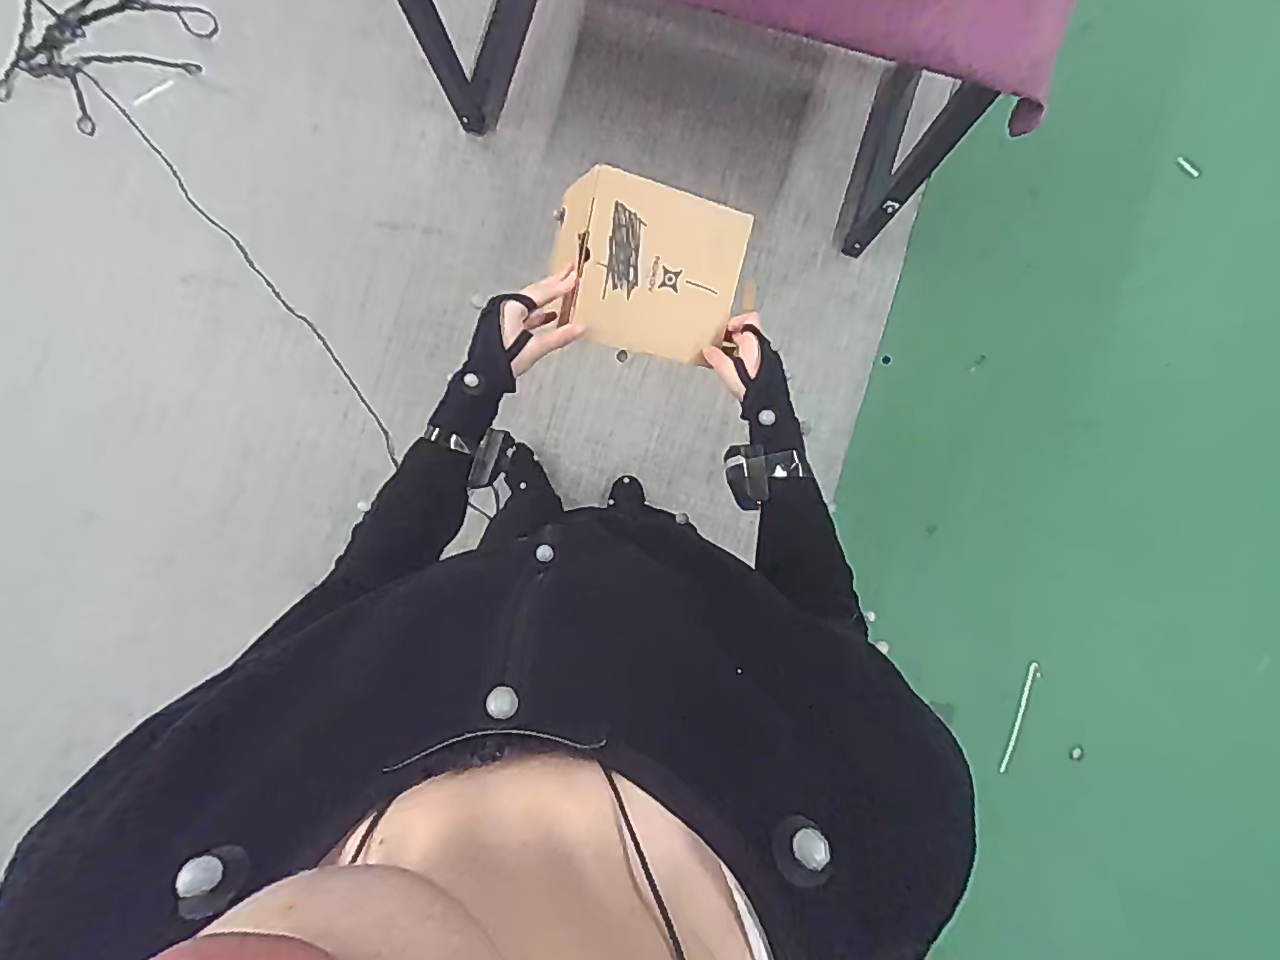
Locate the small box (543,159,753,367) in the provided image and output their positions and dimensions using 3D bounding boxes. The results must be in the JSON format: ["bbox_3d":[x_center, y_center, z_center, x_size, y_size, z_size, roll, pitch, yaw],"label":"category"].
[{"bbox_3d":[-0.005,-0.235,0.621,0.179,0.176,0.168,7,105,-22],"label":"small box"}]
